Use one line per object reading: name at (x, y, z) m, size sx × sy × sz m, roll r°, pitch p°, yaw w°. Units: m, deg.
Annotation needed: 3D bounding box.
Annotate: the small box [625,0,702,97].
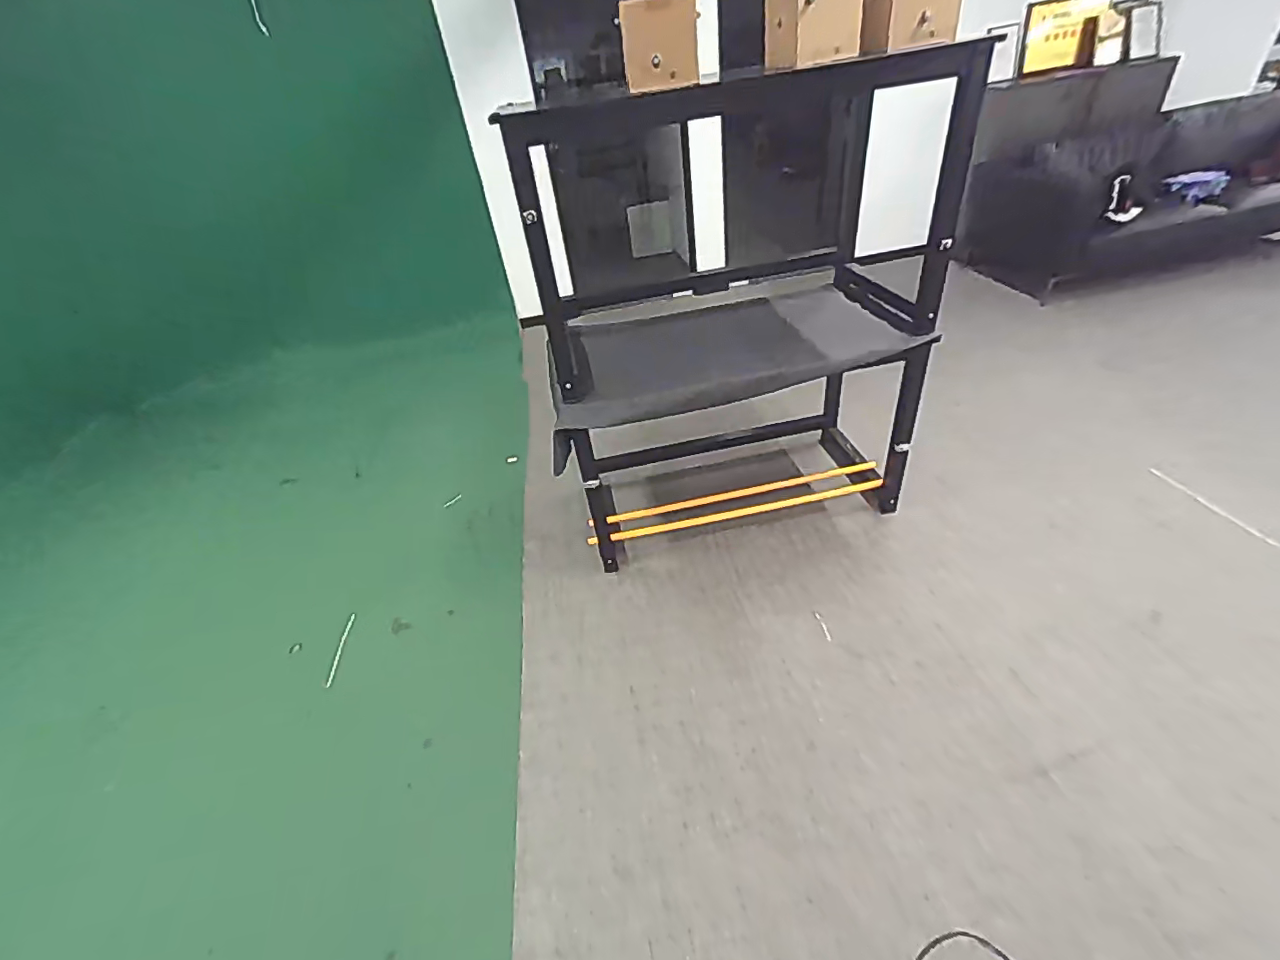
small box at (0.055, -1.014, 1.273) m, size 0.168 × 0.176 × 0.179 m, roll -6°, pitch 37°, yaw 3°
